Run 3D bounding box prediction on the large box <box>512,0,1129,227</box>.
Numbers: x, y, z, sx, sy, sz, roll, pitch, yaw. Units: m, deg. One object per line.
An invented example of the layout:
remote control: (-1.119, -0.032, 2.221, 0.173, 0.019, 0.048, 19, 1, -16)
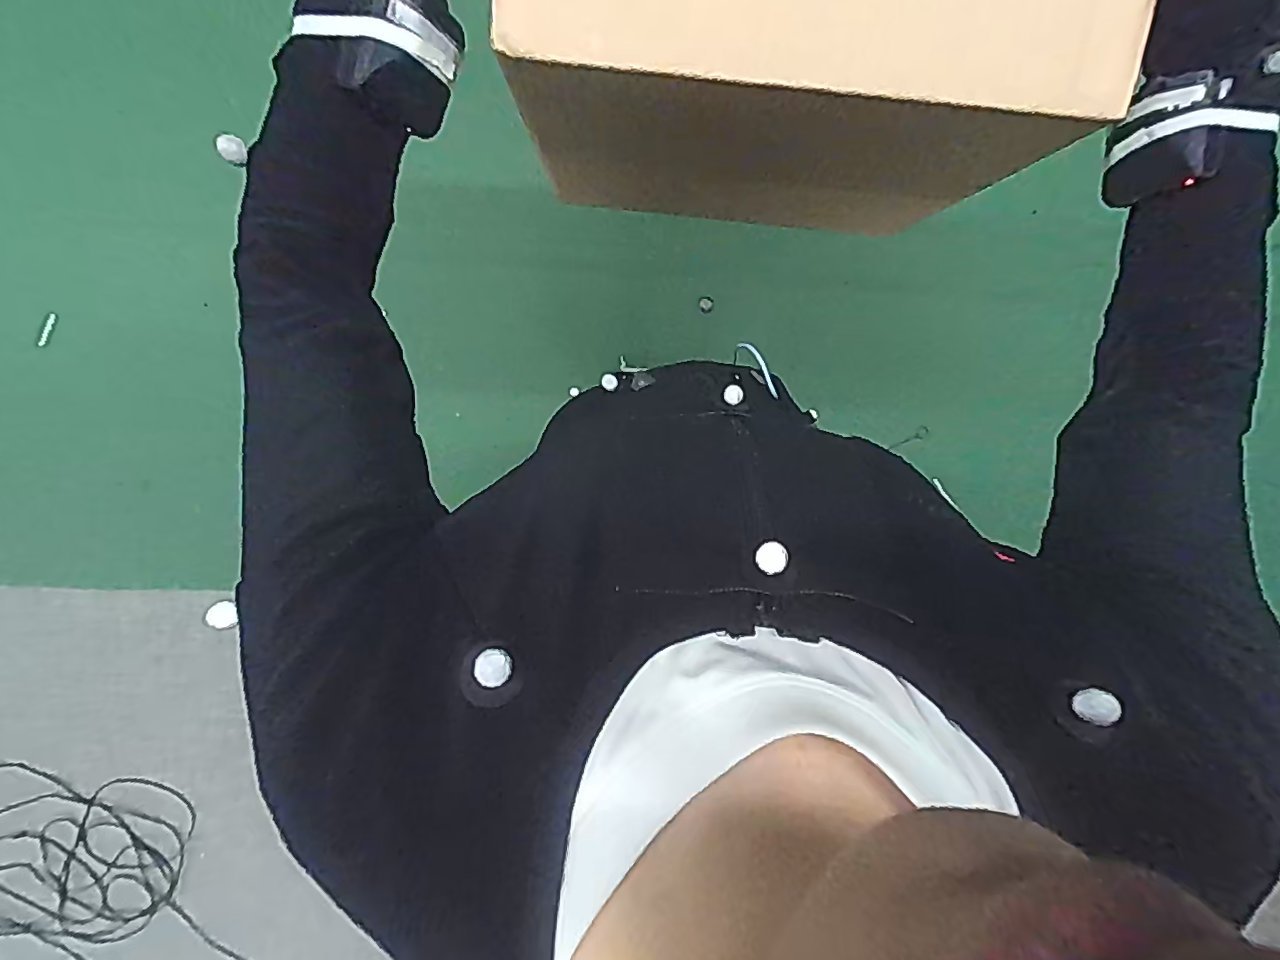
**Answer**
large box: (0.118, -0.435, 0.470, 0.408, 0.320, 0.320, 4, 102, -3)
